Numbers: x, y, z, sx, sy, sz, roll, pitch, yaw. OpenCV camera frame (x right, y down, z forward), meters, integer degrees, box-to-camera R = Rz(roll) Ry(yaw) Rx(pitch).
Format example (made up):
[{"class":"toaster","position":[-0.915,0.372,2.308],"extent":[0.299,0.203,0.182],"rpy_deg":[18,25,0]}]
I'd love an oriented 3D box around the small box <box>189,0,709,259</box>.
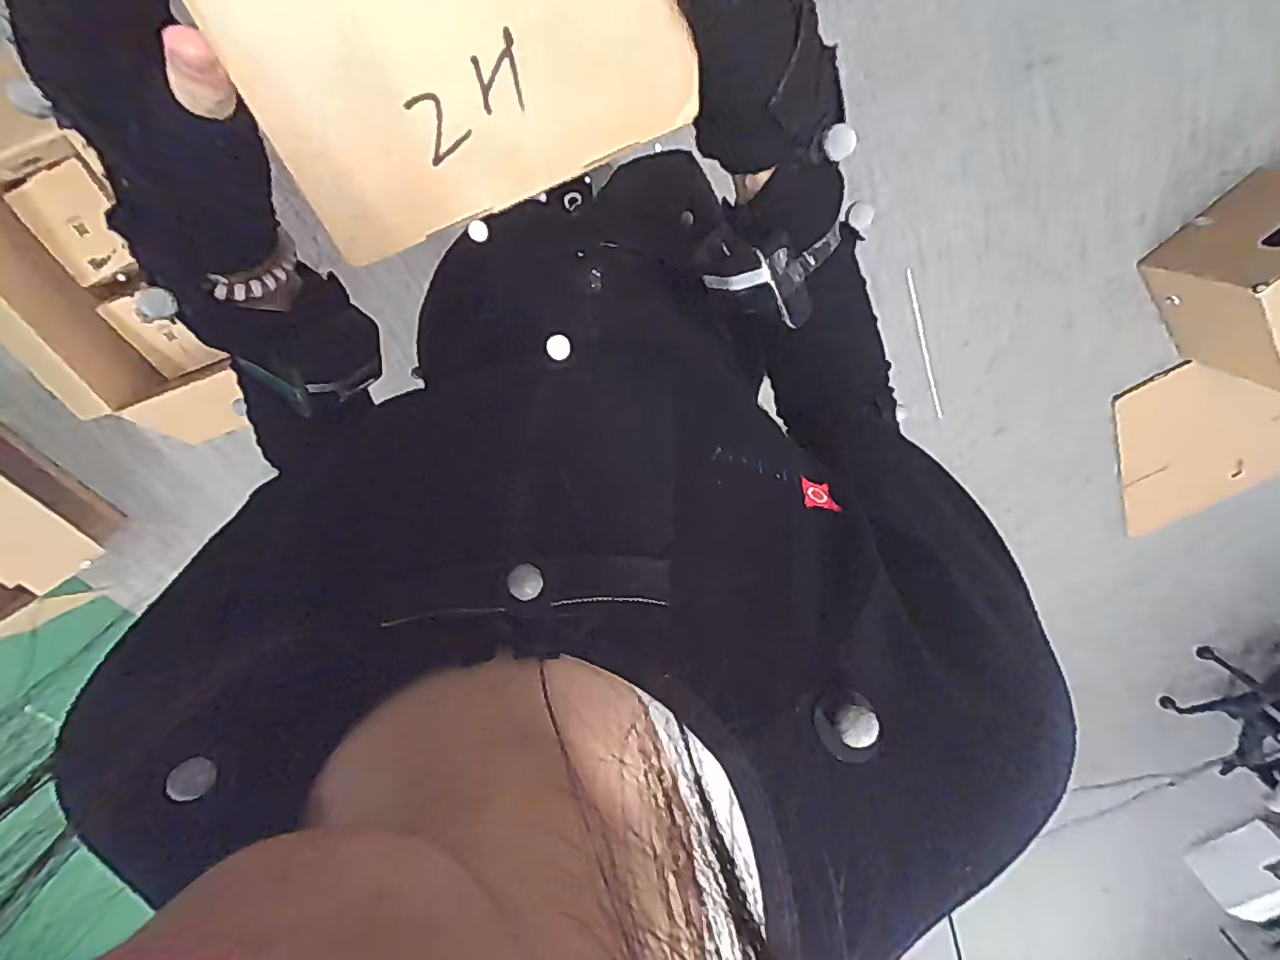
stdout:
[{"class":"small box","position":[-0.091,-0.222,0.192],"extent":[0.168,0.176,0.179],"rpy_deg":[-32,149,-14]}]
